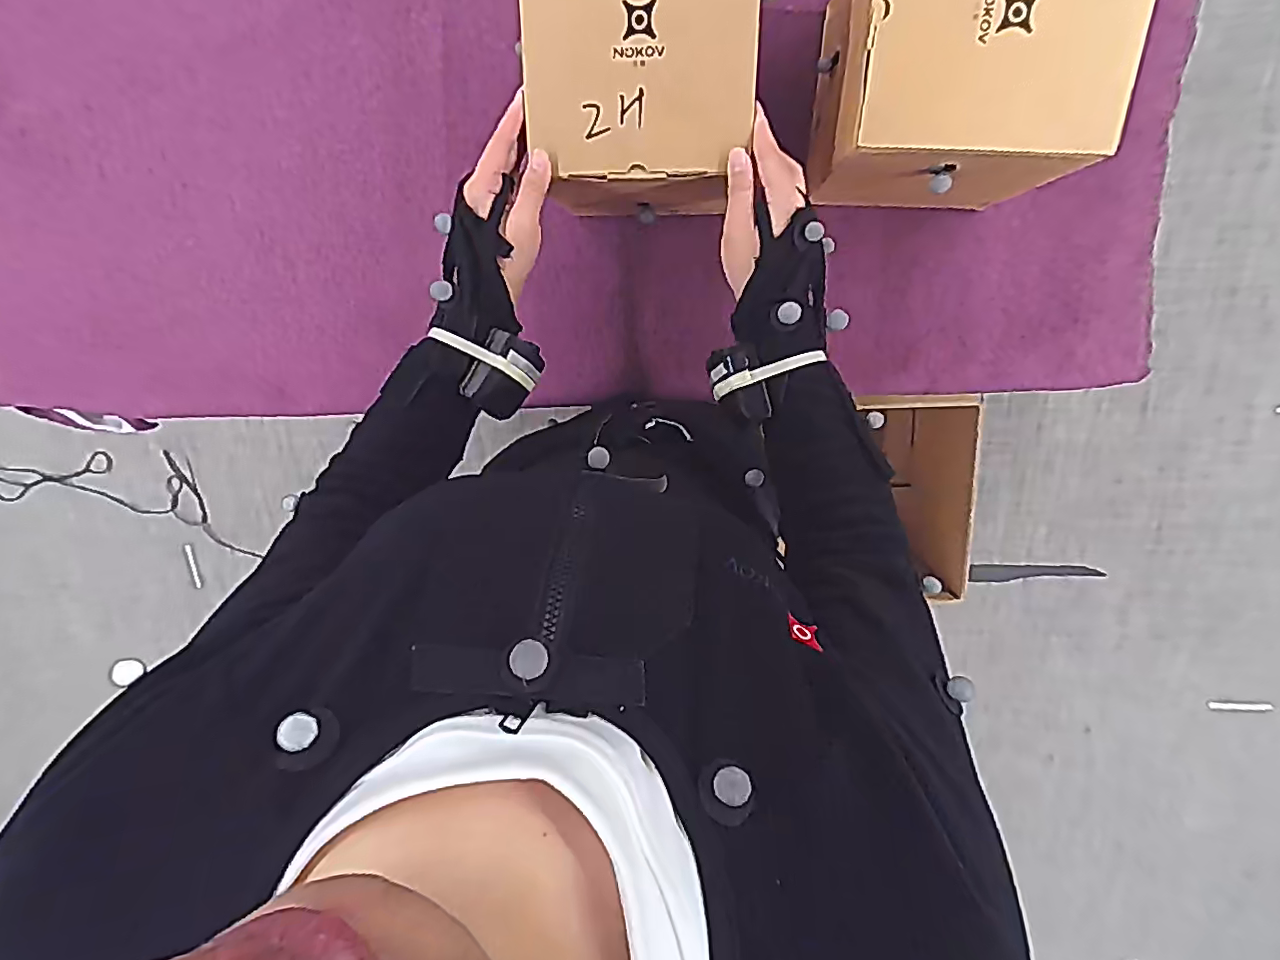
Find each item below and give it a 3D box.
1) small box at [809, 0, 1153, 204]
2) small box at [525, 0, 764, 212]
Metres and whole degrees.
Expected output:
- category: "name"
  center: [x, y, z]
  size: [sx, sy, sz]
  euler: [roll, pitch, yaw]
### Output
- category: "small box"
  center: [0.249, -0.329, 0.430]
  size: [0.179, 0.176, 0.168]
  euler: [4, 106, 4]
- category: "small box"
  center: [0.008, -0.333, 0.445]
  size: [0.168, 0.176, 0.179]
  euler: [2, 108, 5]
